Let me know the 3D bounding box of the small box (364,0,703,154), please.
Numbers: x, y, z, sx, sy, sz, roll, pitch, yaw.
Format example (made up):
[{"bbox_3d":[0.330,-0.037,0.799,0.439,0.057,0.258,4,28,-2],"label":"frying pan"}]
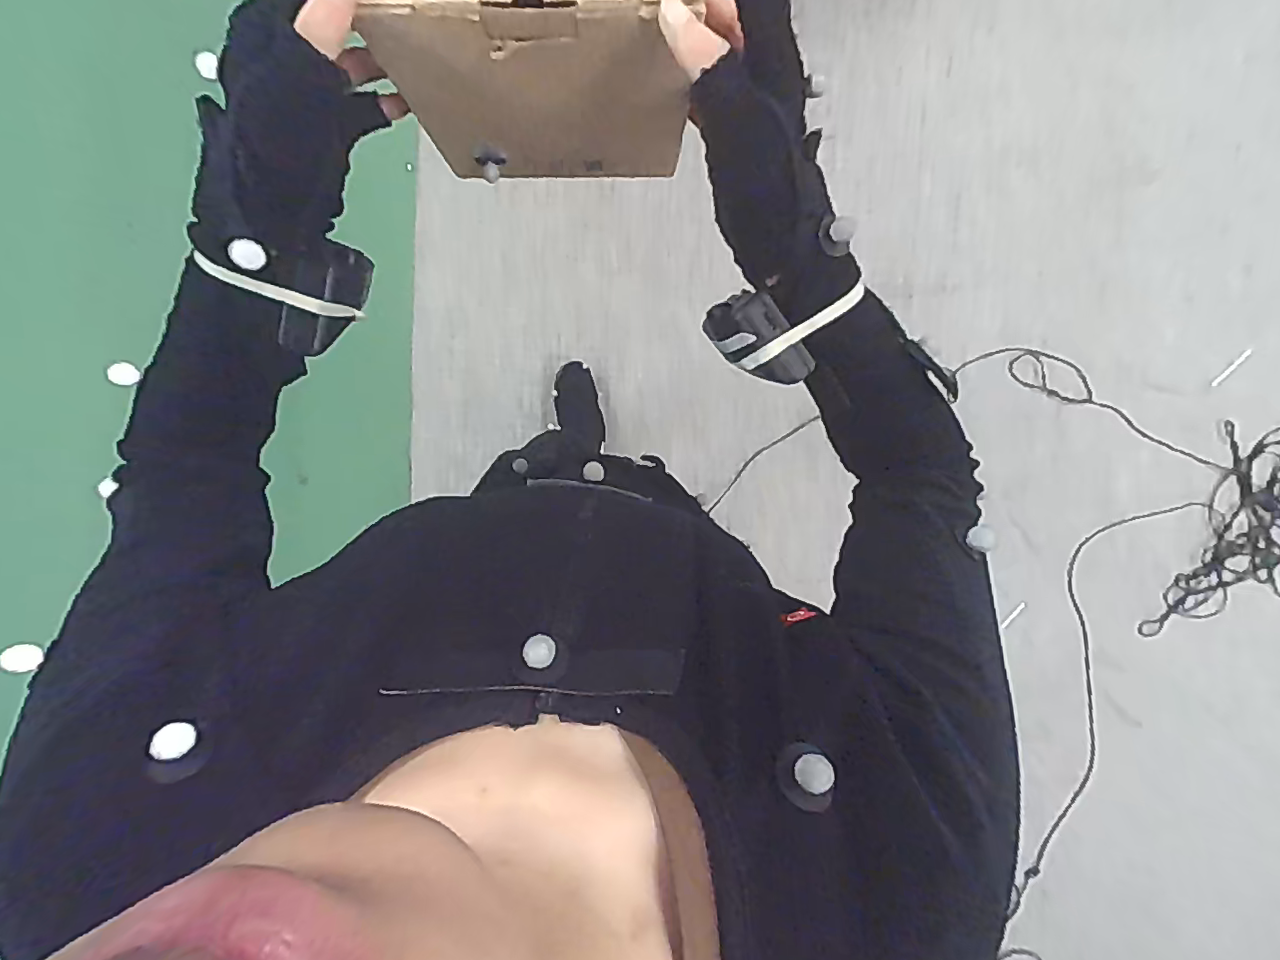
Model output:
[{"bbox_3d":[-0.050,-0.315,0.312,0.168,0.176,0.179,-2,94,-2],"label":"small box"}]
